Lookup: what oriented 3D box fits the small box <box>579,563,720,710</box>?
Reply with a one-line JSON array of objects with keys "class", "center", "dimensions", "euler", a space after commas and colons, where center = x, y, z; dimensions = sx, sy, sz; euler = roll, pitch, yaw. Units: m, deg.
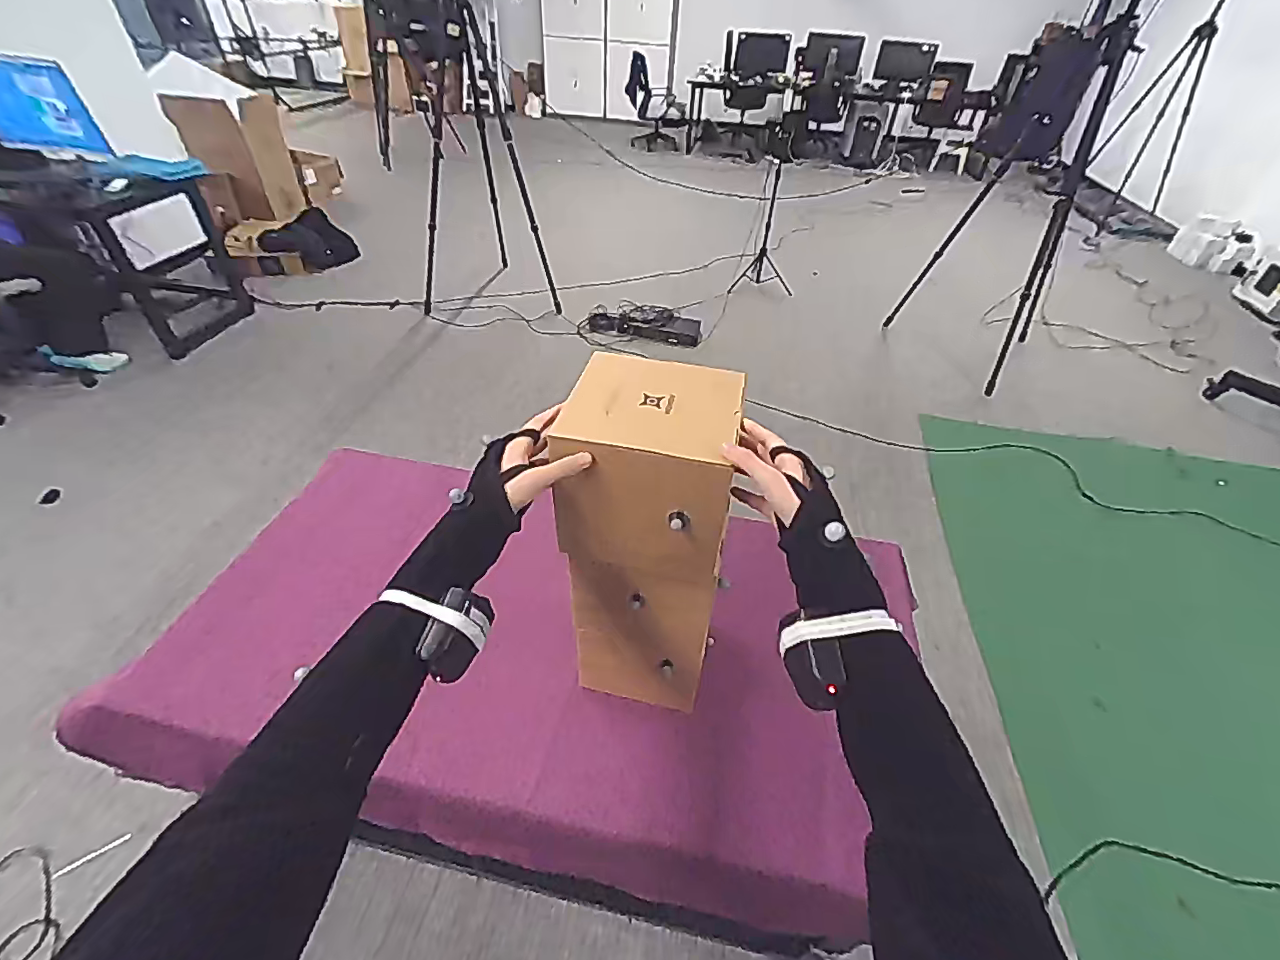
[{"class": "small box", "center": [0.015, 0.226, 0.825], "dimensions": [0.179, 0.176, 0.168], "euler": [11, 42, 8]}]

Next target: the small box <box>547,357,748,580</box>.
[{"class": "small box", "center": [0.013, -0.012, 0.598], "dimensions": [0.179, 0.176, 0.168], "euler": [10, 42, 8]}]
